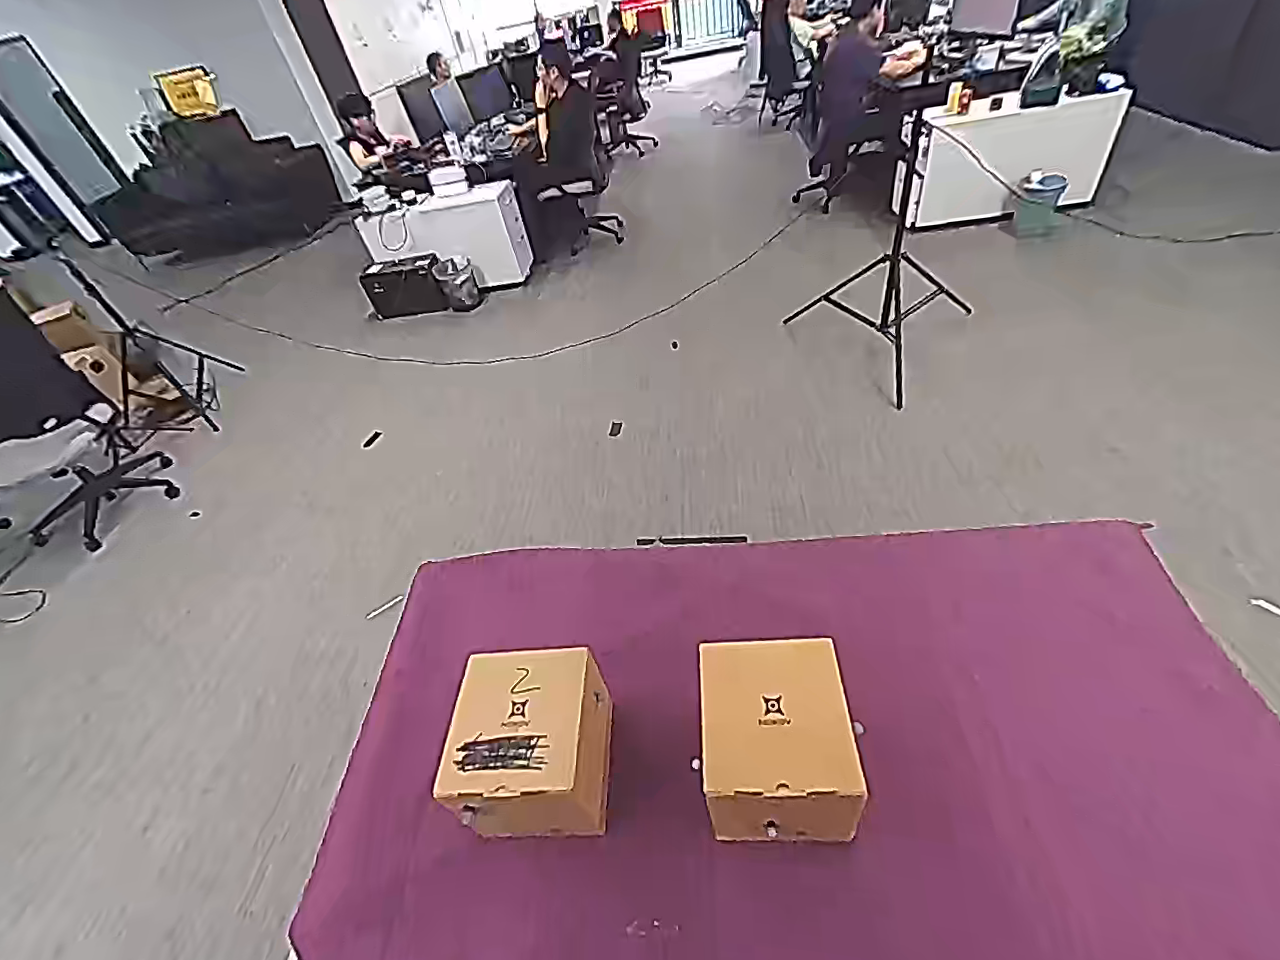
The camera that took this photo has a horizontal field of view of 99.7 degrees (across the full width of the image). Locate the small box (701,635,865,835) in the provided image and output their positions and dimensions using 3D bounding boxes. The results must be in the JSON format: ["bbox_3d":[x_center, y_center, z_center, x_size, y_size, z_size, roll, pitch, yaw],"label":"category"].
[{"bbox_3d":[0.164,0.315,0.671,0.168,0.176,0.179,-5,44,8],"label":"small box"}]
